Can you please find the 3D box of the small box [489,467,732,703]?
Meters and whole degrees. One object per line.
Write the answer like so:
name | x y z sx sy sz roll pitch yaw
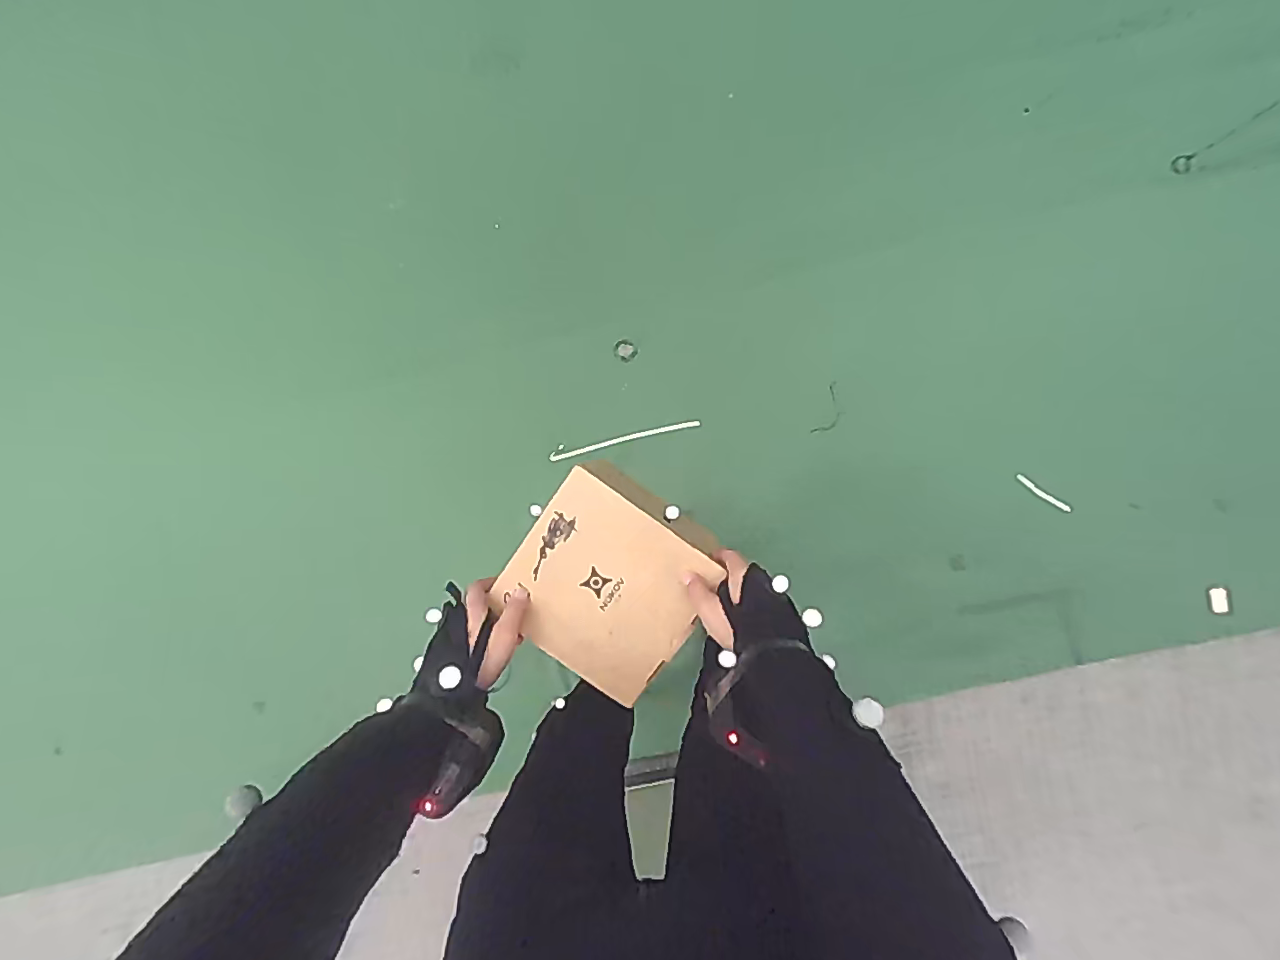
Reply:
small box | -0.025 0.095 0.589 0.179 0.176 0.168 36 94 1
